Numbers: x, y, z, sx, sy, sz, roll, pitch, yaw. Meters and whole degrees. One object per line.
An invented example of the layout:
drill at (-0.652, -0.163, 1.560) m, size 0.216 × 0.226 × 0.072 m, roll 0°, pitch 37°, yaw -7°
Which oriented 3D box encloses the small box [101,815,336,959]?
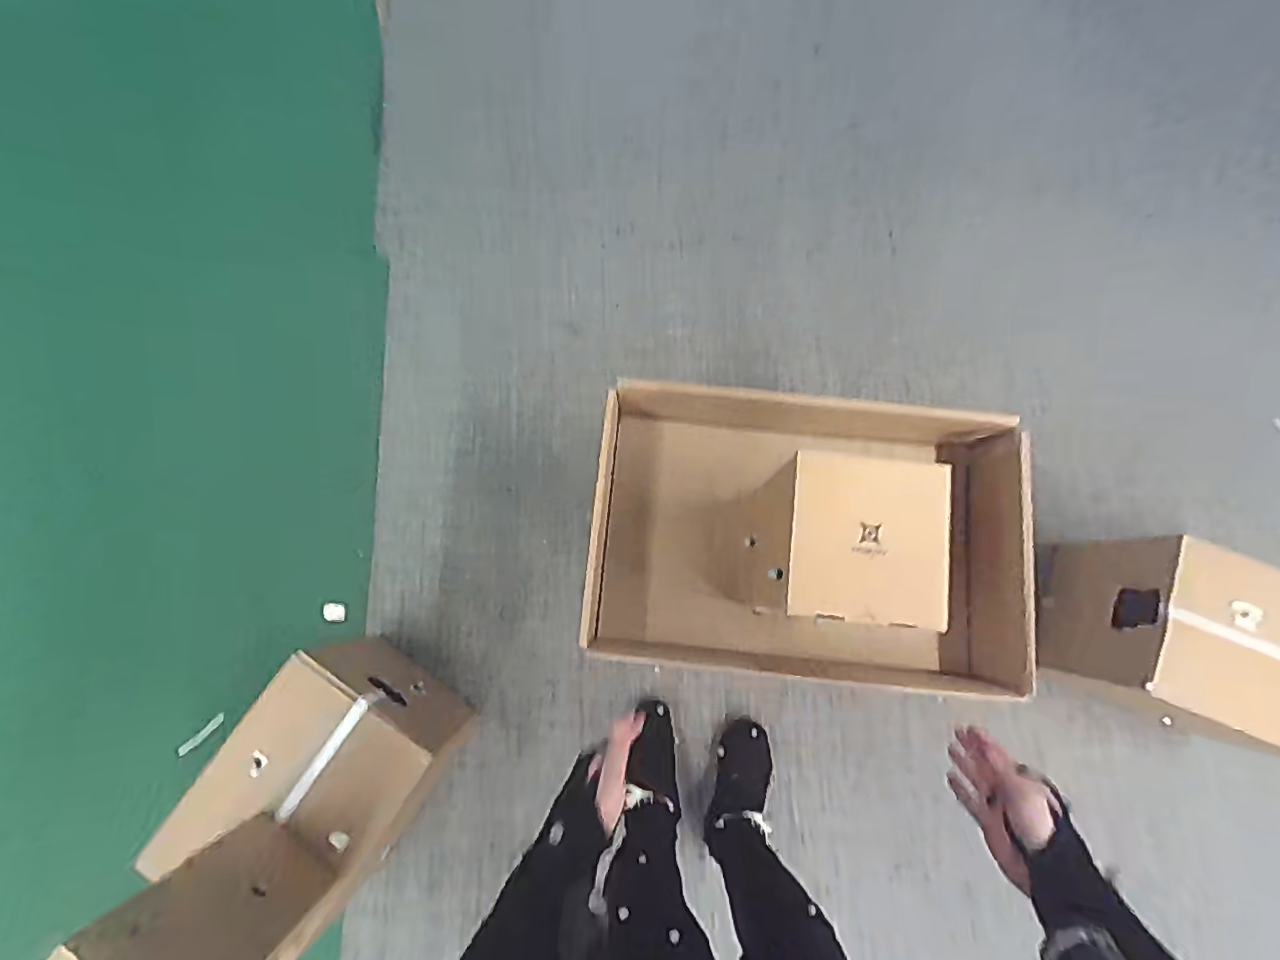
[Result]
small box at (-0.594, 0.638, 0.788) m, size 0.179 × 0.176 × 0.168 m, roll 37°, pitch 80°, yaw 5°

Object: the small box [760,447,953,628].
small box at (0.245, 0.072, 0.645) m, size 0.168 × 0.176 × 0.179 m, roll 6°, pitch 80°, yaw 1°

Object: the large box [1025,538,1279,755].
large box at (1.138, 0.343, 1.131) m, size 0.408 × 0.320 × 0.320 m, roll 22°, pitch 79°, yaw 4°
